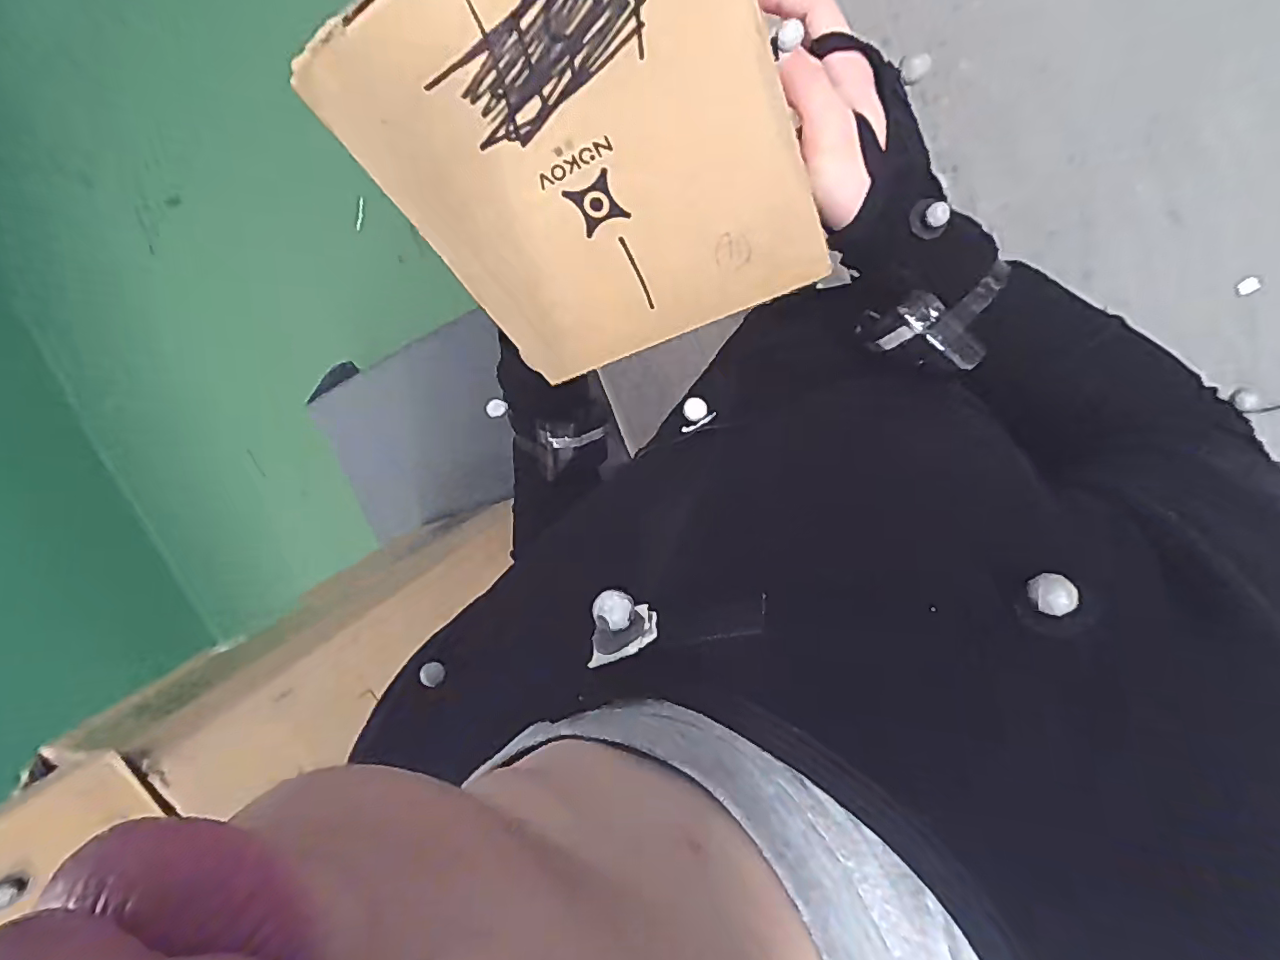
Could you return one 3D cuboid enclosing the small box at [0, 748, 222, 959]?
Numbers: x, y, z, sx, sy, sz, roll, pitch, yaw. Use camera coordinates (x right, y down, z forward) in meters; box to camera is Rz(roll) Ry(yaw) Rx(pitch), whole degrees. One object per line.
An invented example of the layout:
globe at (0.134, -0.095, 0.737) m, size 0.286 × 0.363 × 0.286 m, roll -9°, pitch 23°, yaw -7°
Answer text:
small box at (-0.492, 0.347, 0.442) m, size 0.179 × 0.176 × 0.168 m, roll -25°, pitch 98°, yaw 33°
